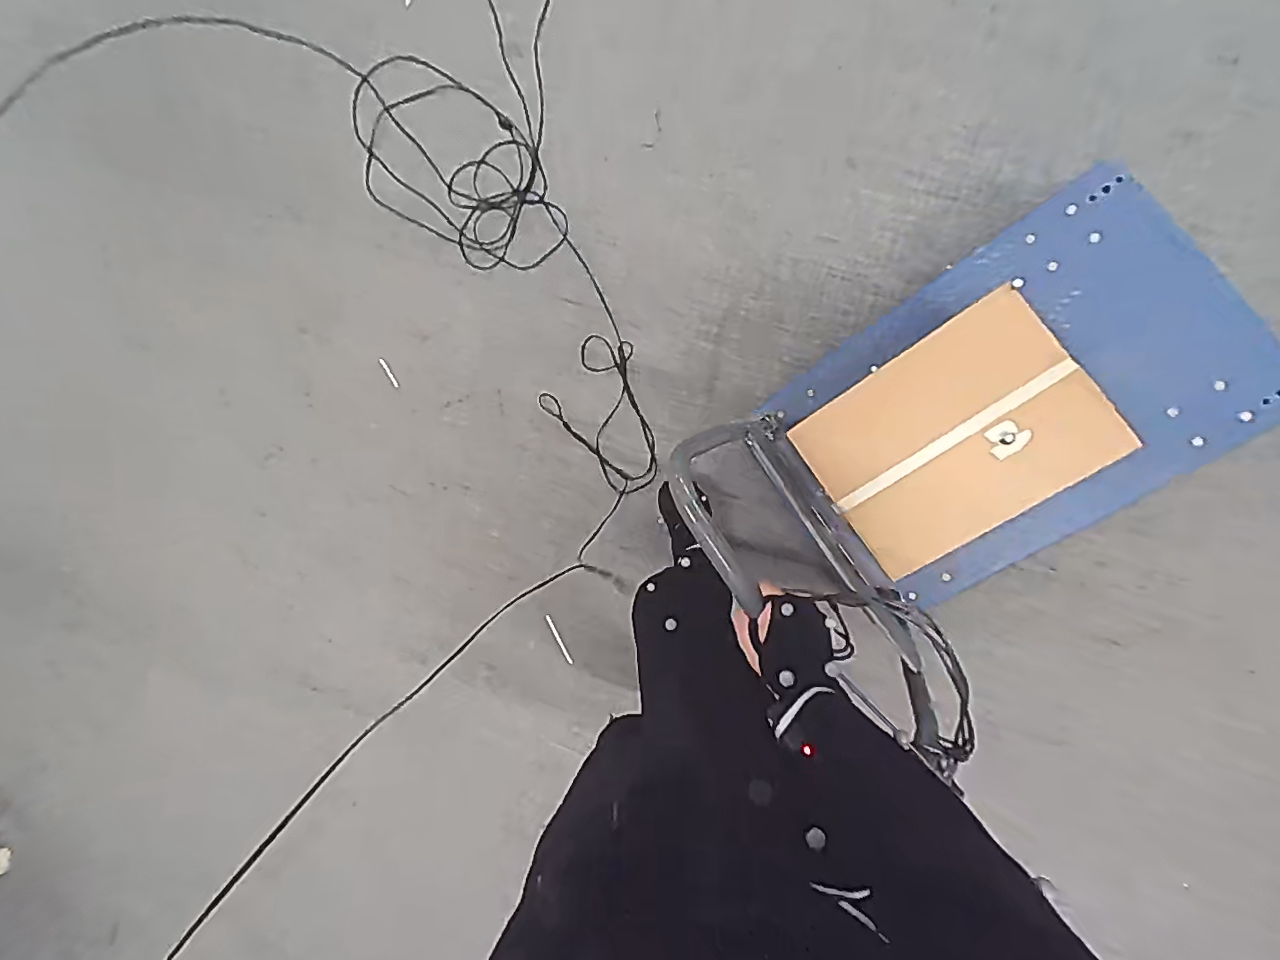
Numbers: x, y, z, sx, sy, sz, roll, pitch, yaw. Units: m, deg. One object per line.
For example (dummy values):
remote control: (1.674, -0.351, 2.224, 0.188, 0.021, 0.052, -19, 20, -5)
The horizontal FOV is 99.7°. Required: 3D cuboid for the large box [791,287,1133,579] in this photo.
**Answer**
large box: (0.545, -0.072, 1.017, 0.408, 0.320, 0.320, -35, 83, 16)
